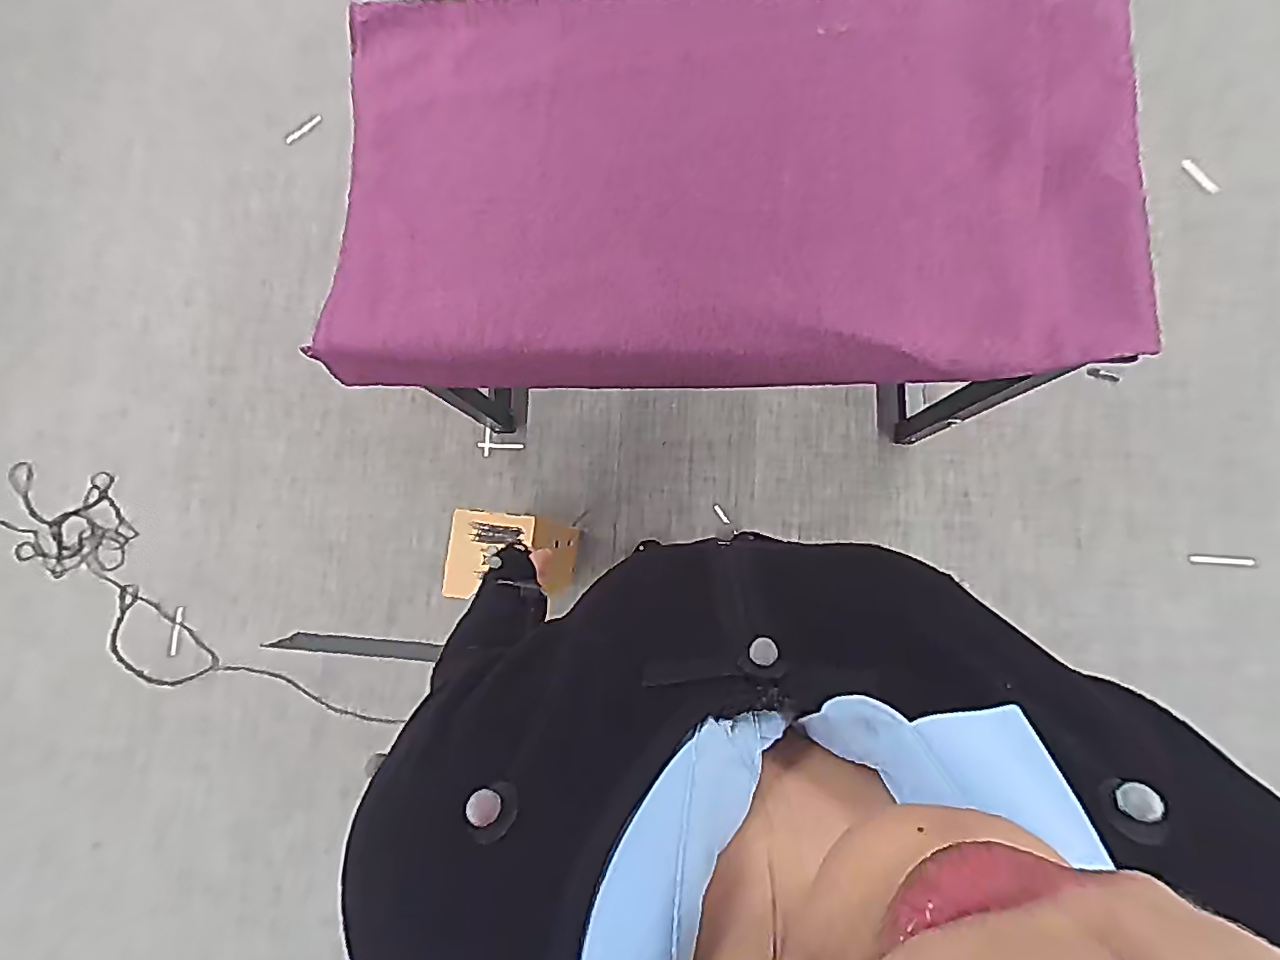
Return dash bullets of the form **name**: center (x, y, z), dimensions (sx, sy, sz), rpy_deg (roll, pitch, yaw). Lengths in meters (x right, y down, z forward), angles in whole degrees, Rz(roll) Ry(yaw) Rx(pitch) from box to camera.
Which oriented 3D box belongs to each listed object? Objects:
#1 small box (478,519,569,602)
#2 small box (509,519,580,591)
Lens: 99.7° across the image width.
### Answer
- **small box**: center (-0.269, 0.189, 1.288), dimensions (0.168, 0.176, 0.179), rpy_deg (3, 83, 5)
- **small box**: center (-0.266, 0.206, 1.452), dimensions (0.168, 0.176, 0.179), rpy_deg (9, 83, 5)
